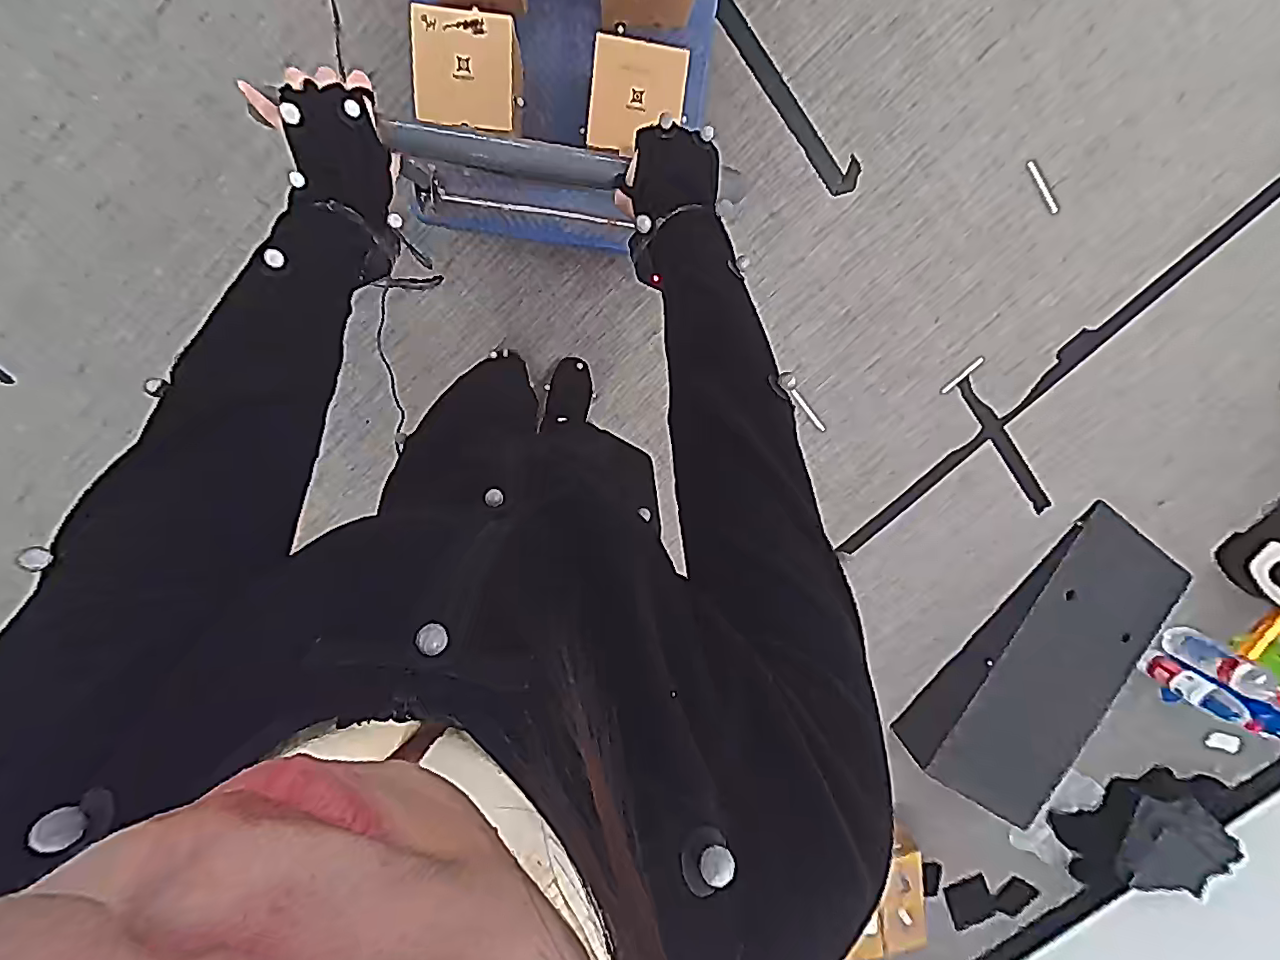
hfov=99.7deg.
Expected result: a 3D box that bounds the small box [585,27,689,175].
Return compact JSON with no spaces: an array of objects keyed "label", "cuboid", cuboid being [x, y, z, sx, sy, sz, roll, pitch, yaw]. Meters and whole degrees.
[{"label":"small box","cuboid":[-0.012,-0.702,1.026,0.168,0.176,0.179,6,105,-8]}]

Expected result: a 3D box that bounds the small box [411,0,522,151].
[{"label":"small box","cuboid":[-0.307,-0.725,0.988,0.168,0.176,0.179,2,107,-7]}]

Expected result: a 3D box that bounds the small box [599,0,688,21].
[{"label":"small box","cuboid":[0.007,-0.949,0.953,0.168,0.176,0.179,-6,106,-4]}]
